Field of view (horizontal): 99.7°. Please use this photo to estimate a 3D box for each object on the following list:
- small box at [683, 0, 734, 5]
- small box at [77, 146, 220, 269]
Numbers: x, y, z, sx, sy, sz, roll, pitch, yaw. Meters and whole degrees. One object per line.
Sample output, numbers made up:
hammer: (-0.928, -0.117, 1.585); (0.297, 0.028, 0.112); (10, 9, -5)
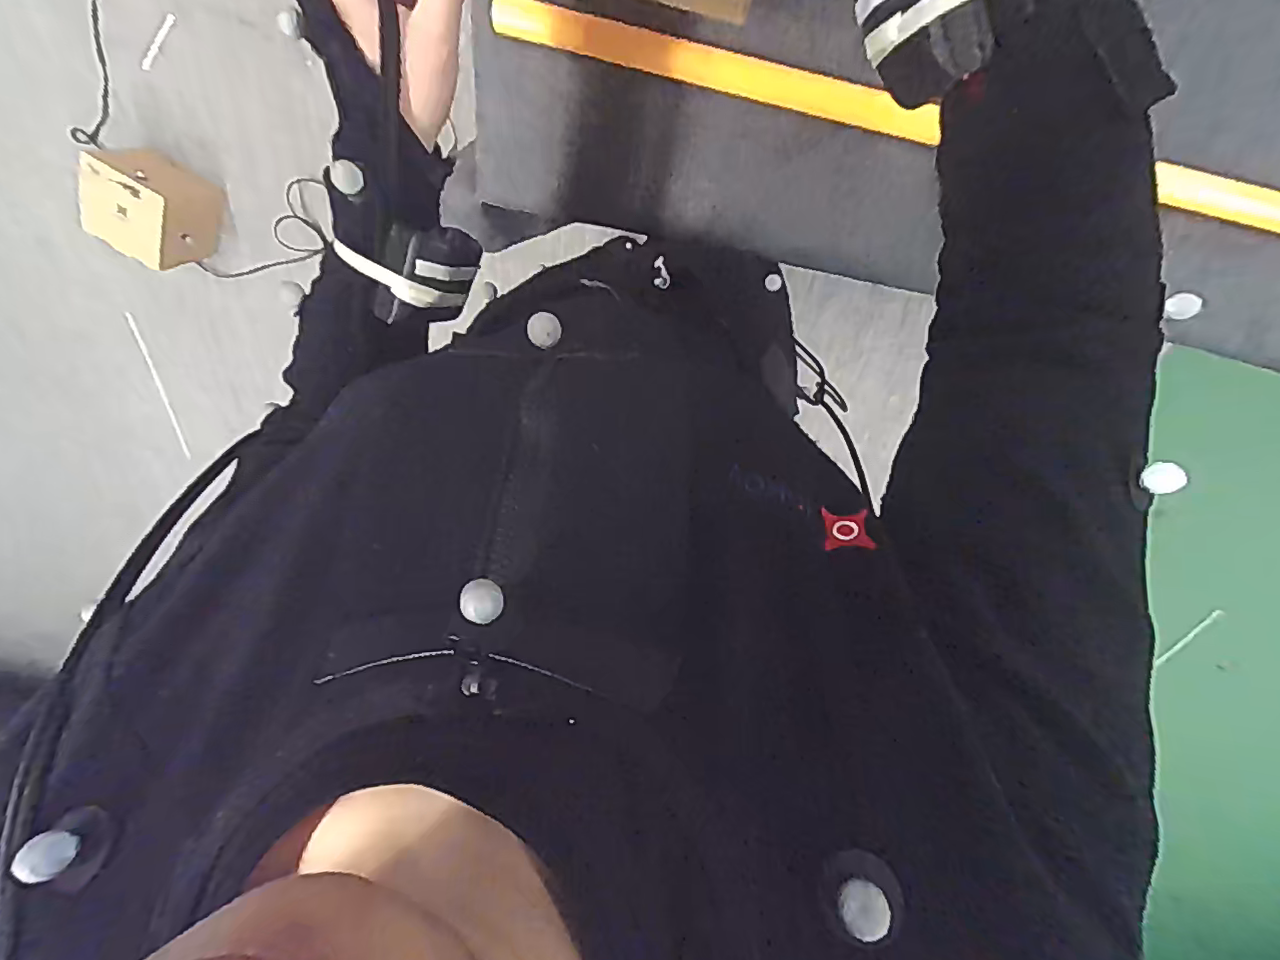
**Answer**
small box: (-0.004, -0.361, 0.263); (0.179, 0.176, 0.168); (15, 126, 0)
small box: (-1.073, -0.603, 1.192); (0.168, 0.176, 0.179); (30, 123, -12)
